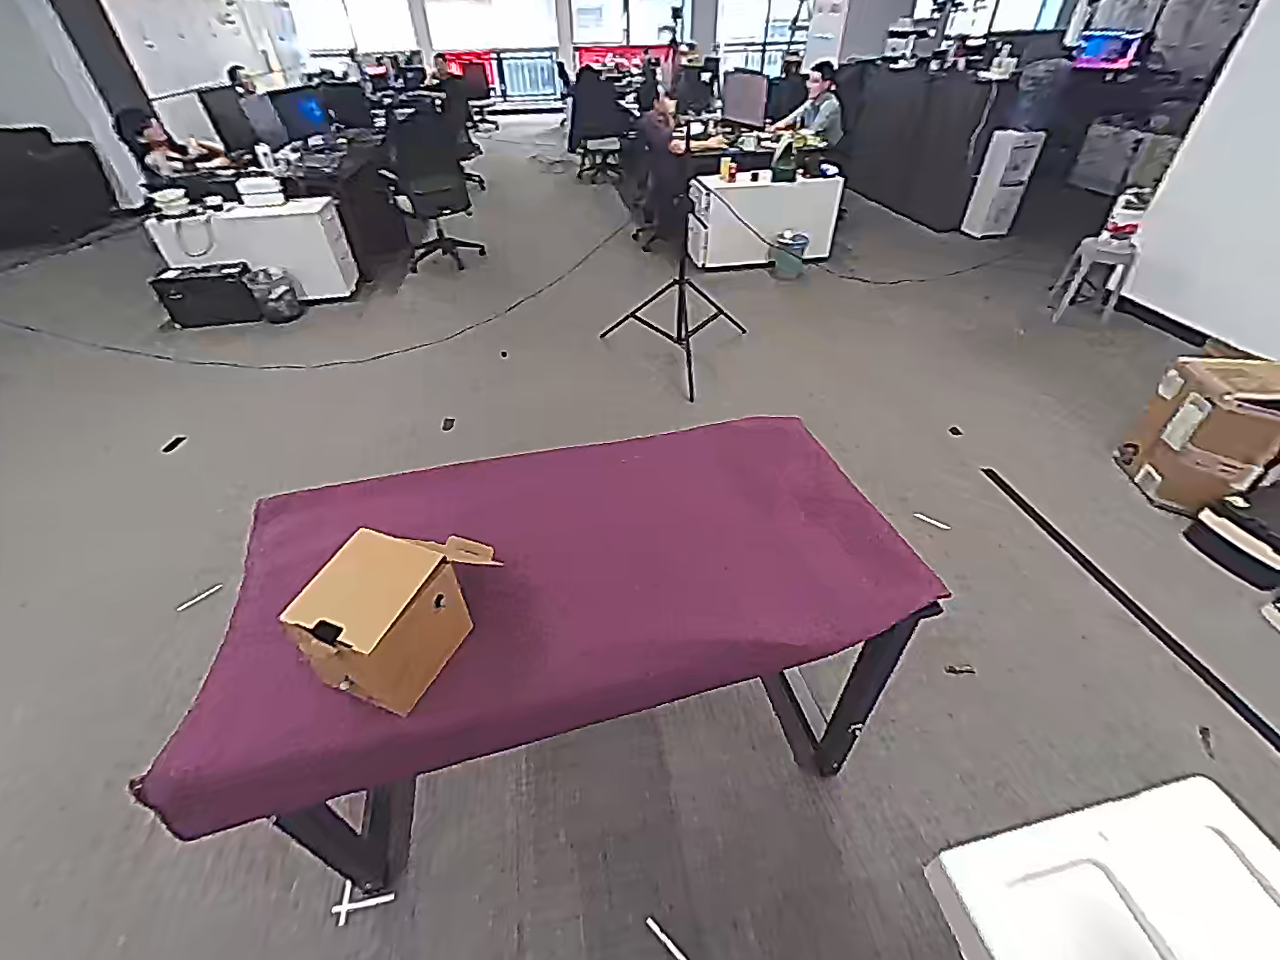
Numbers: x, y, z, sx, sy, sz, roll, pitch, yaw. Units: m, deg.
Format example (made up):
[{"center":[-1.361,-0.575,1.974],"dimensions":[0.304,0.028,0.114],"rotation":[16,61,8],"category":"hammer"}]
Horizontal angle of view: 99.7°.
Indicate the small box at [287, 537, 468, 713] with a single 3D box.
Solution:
[{"center":[-0.391,0.223,0.845],"dimensions":[0.168,0.176,0.179],"rotation":[13,42,18],"category":"small box"}]
